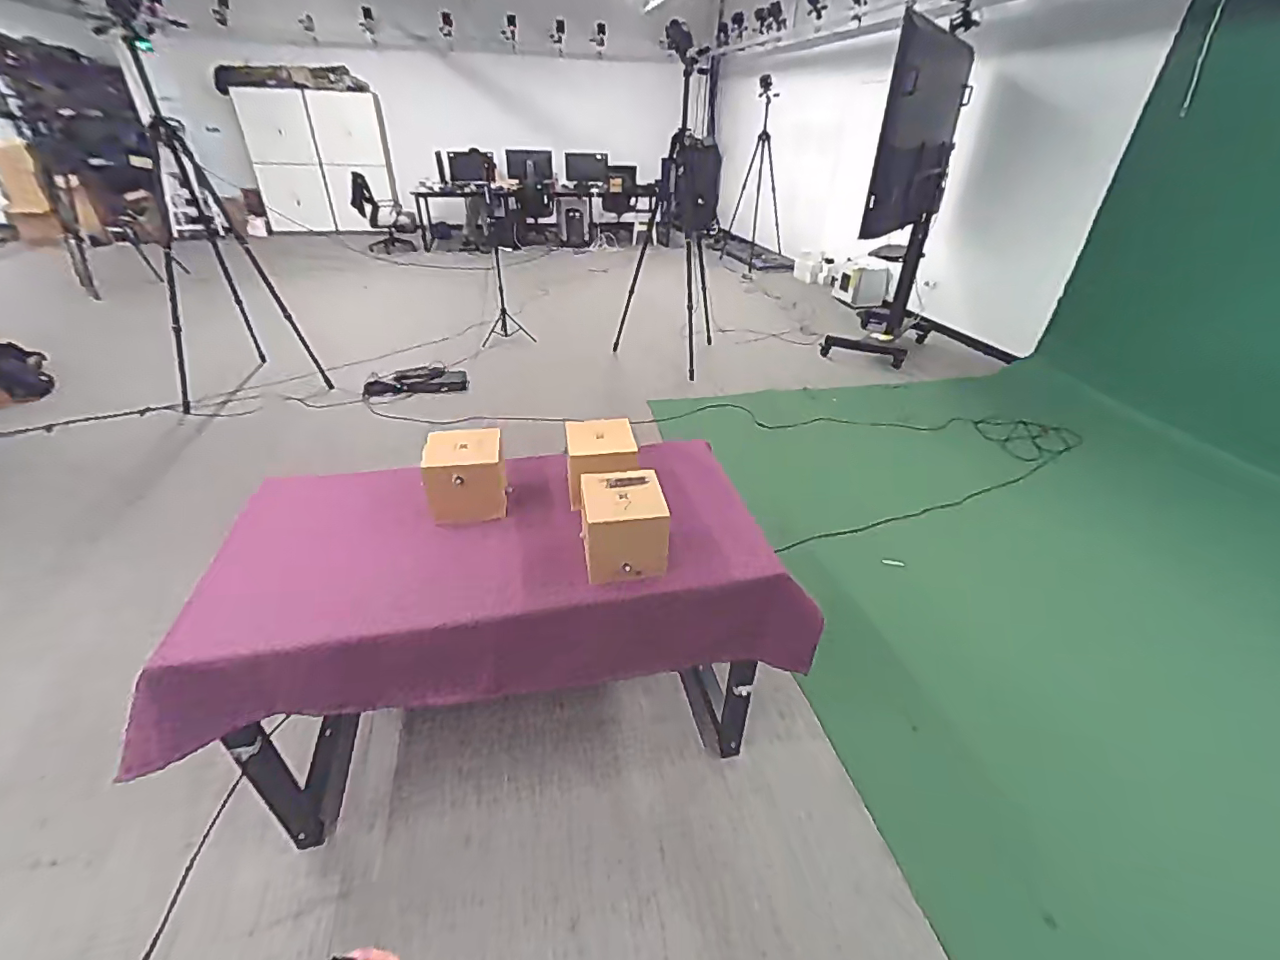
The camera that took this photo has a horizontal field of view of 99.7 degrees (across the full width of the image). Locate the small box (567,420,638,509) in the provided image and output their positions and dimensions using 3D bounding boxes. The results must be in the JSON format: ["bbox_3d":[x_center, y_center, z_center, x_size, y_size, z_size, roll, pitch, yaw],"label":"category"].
[{"bbox_3d":[-0.096,-0.036,1.380,0.168,0.176,0.179,-5,33,-8],"label":"small box"}]

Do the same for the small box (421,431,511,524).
[{"bbox_3d":[-0.417,-0.005,1.324,0.179,0.176,0.168,-4,34,-8],"label":"small box"}]
